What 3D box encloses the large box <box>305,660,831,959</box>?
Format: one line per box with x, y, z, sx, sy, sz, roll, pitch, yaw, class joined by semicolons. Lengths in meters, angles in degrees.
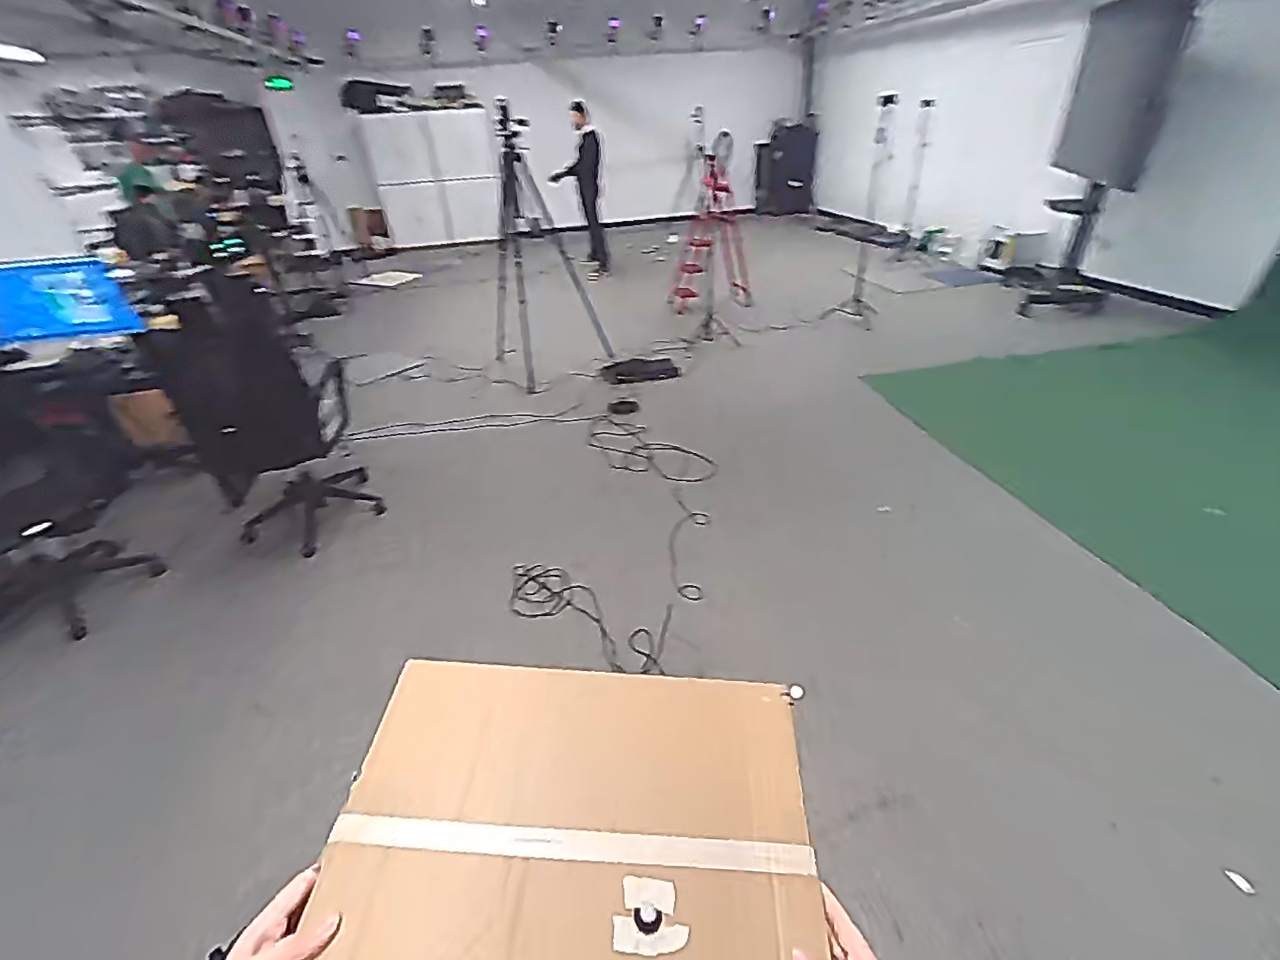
-0.053;0.420;0.567;0.408;0.320;0.320;5;43;2;large box
